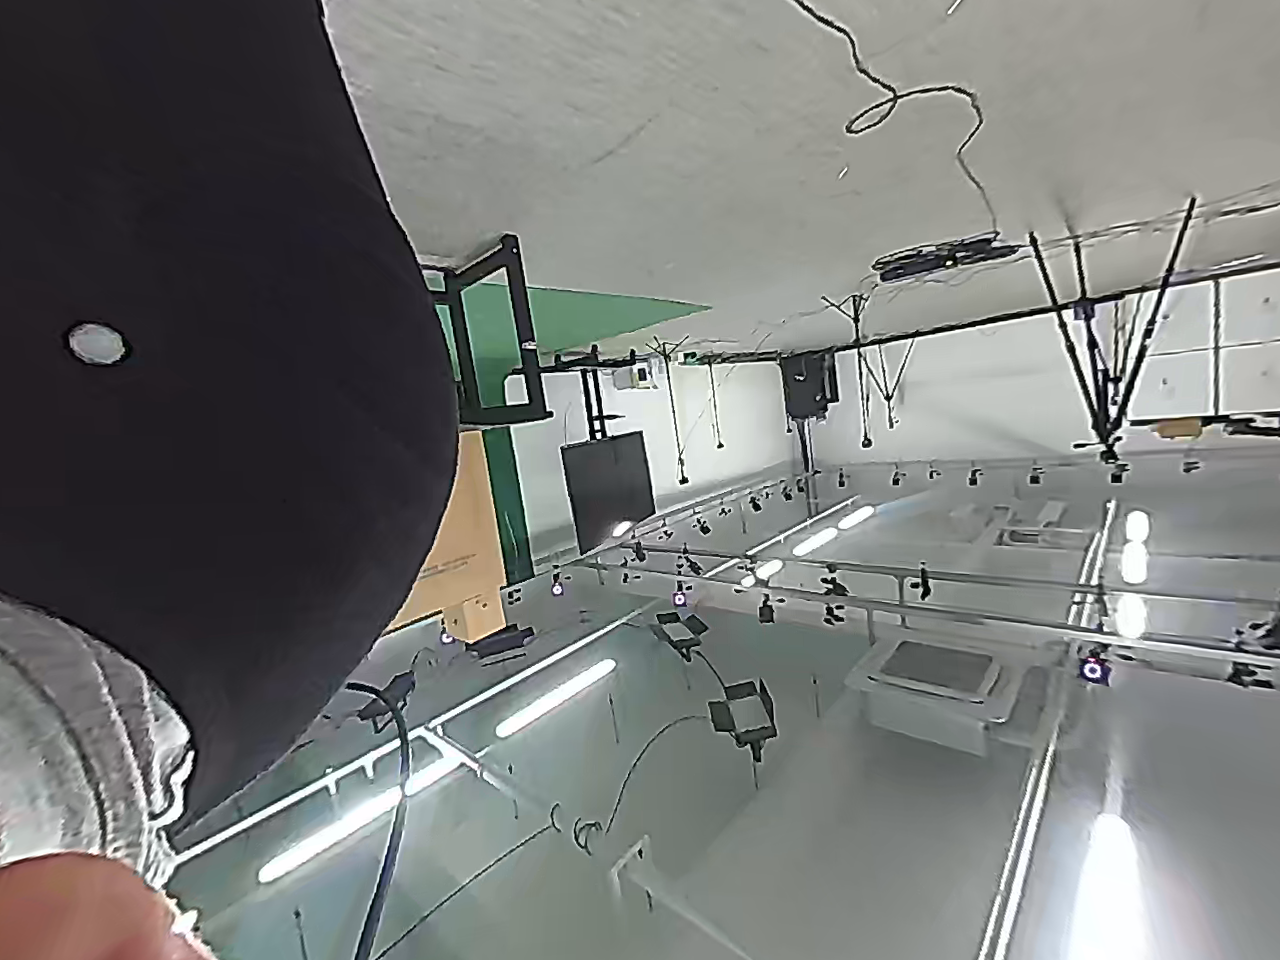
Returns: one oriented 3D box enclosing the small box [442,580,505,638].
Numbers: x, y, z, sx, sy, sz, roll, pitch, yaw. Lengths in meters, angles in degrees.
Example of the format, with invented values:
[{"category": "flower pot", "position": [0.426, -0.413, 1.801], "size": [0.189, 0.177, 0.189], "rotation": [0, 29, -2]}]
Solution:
[{"category": "small box", "position": [-0.666, 0.501, 2.141], "size": [0.179, 0.176, 0.168], "rotation": [-3, -169, 41]}]
